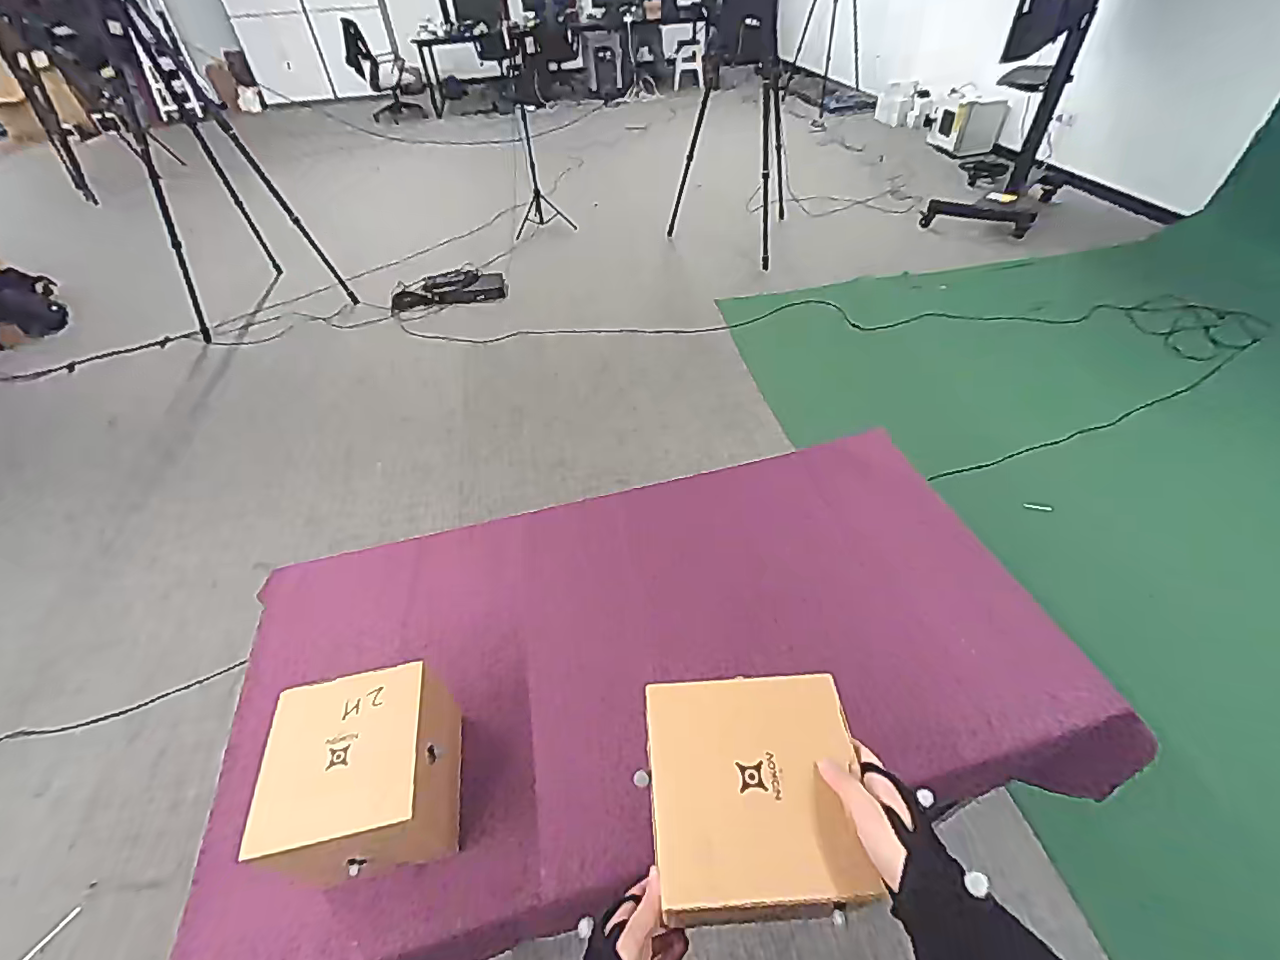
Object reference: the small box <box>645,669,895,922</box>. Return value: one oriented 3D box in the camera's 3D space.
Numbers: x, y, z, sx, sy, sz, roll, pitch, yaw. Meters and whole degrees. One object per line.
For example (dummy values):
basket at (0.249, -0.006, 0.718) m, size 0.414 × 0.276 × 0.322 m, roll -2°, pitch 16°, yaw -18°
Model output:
small box at (0.099, 0.295, 0.503) m, size 0.179 × 0.176 × 0.168 m, roll -3°, pitch 47°, yaw -2°

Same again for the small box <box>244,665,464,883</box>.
small box at (-0.315, 0.352, 0.642) m, size 0.168 × 0.176 × 0.179 m, roll -10°, pitch 46°, yaw -6°
